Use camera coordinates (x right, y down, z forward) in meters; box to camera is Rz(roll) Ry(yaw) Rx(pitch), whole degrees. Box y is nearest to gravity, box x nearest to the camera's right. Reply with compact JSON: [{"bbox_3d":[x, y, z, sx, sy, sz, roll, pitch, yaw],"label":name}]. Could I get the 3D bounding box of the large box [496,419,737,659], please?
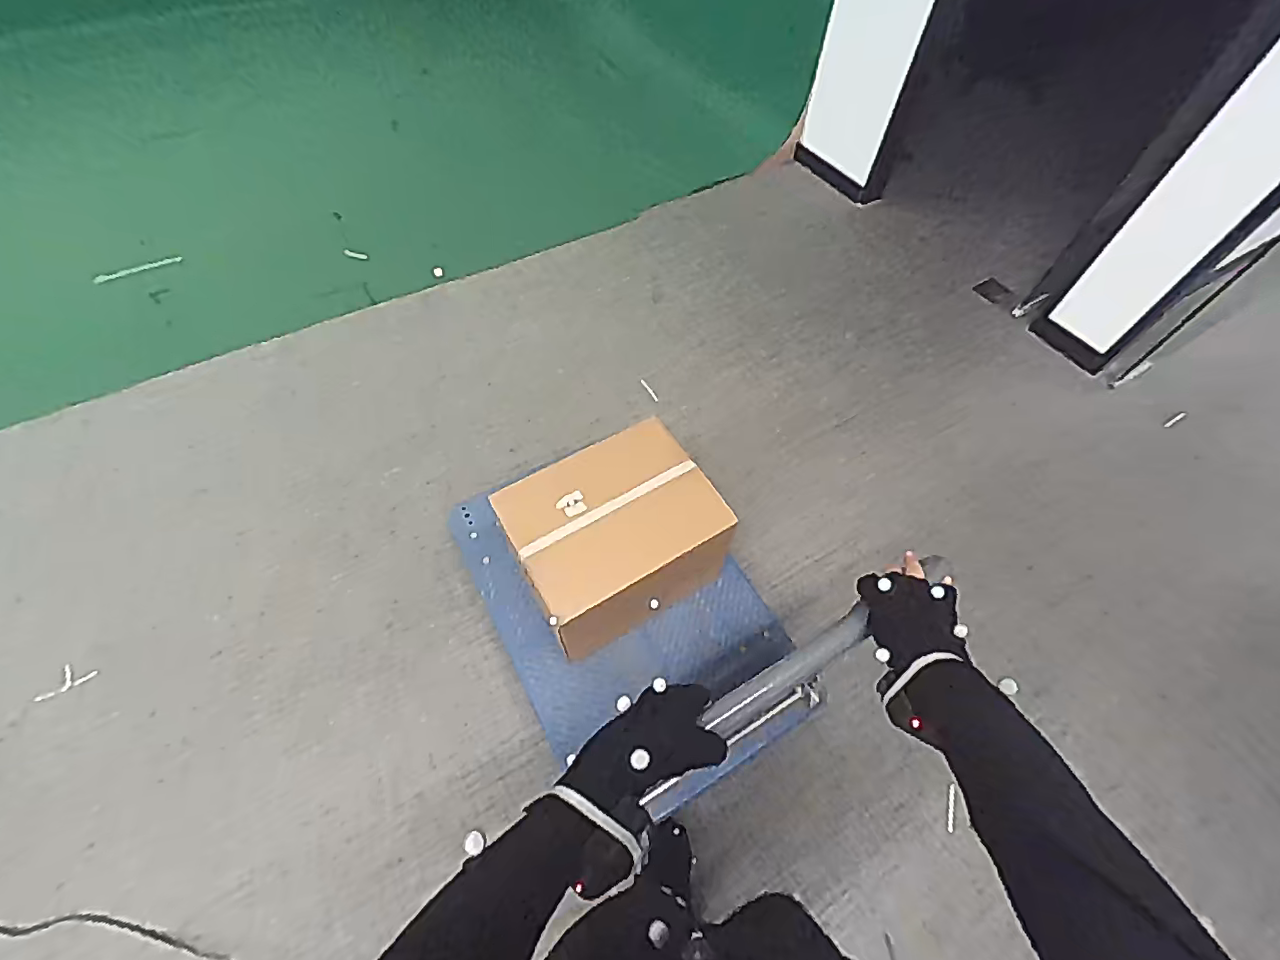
[{"bbox_3d":[-0.049,0.137,1.216,0.408,0.320,0.320,-29,63,-16],"label":"large box"}]
